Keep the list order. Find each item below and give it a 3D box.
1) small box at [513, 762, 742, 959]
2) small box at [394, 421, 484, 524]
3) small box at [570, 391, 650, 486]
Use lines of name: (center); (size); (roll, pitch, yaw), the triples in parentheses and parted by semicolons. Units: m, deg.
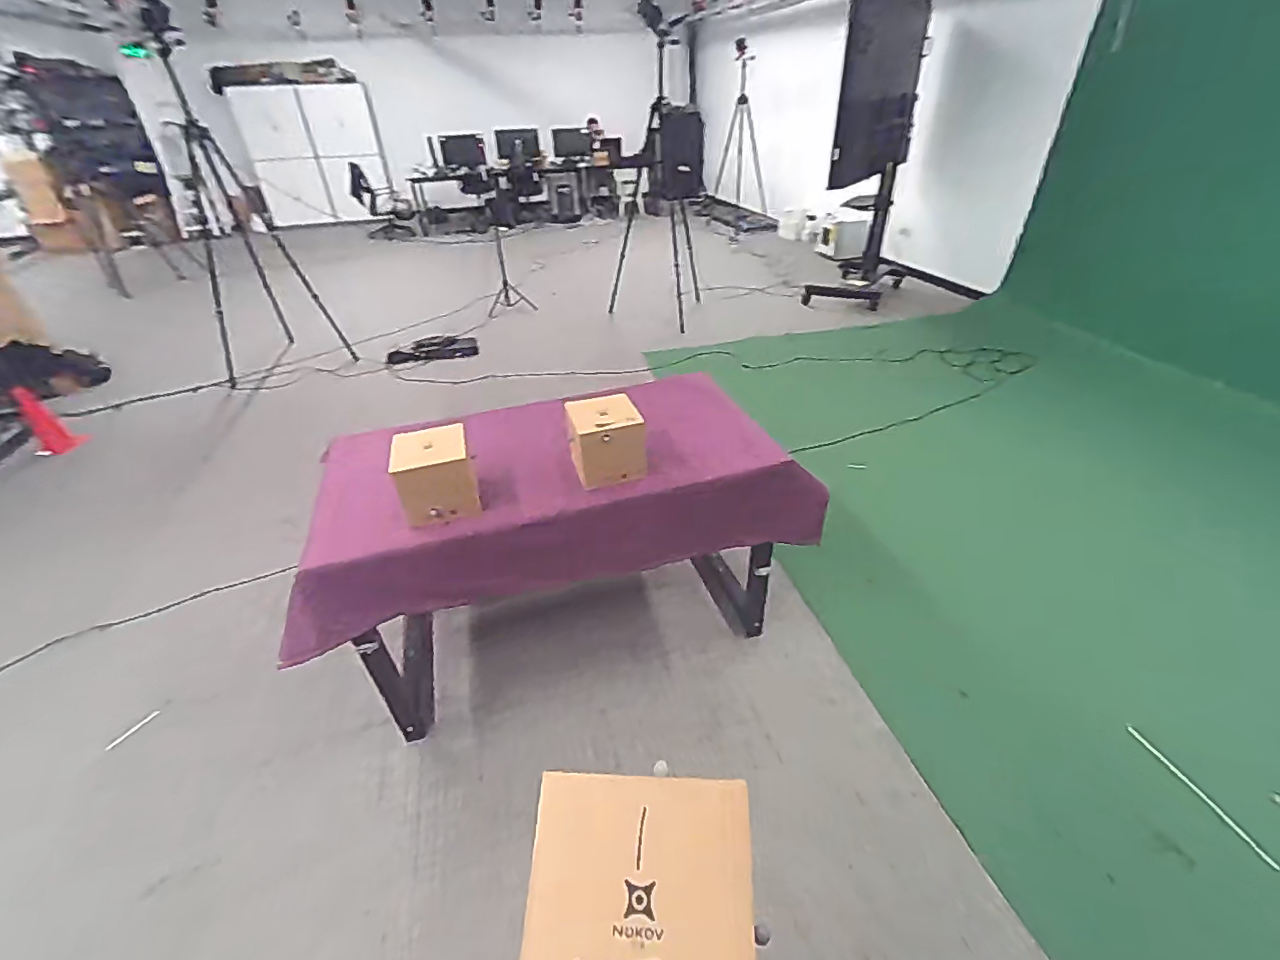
small box: (0.002, 0.349, 0.462); (0.168, 0.176, 0.179); (0, 58, 7)
small box: (-0.478, -0.019, 1.306); (0.168, 0.176, 0.179); (-12, 37, -12)
small box: (-0.079, -0.108, 1.401); (0.168, 0.176, 0.179); (-13, 36, -12)
